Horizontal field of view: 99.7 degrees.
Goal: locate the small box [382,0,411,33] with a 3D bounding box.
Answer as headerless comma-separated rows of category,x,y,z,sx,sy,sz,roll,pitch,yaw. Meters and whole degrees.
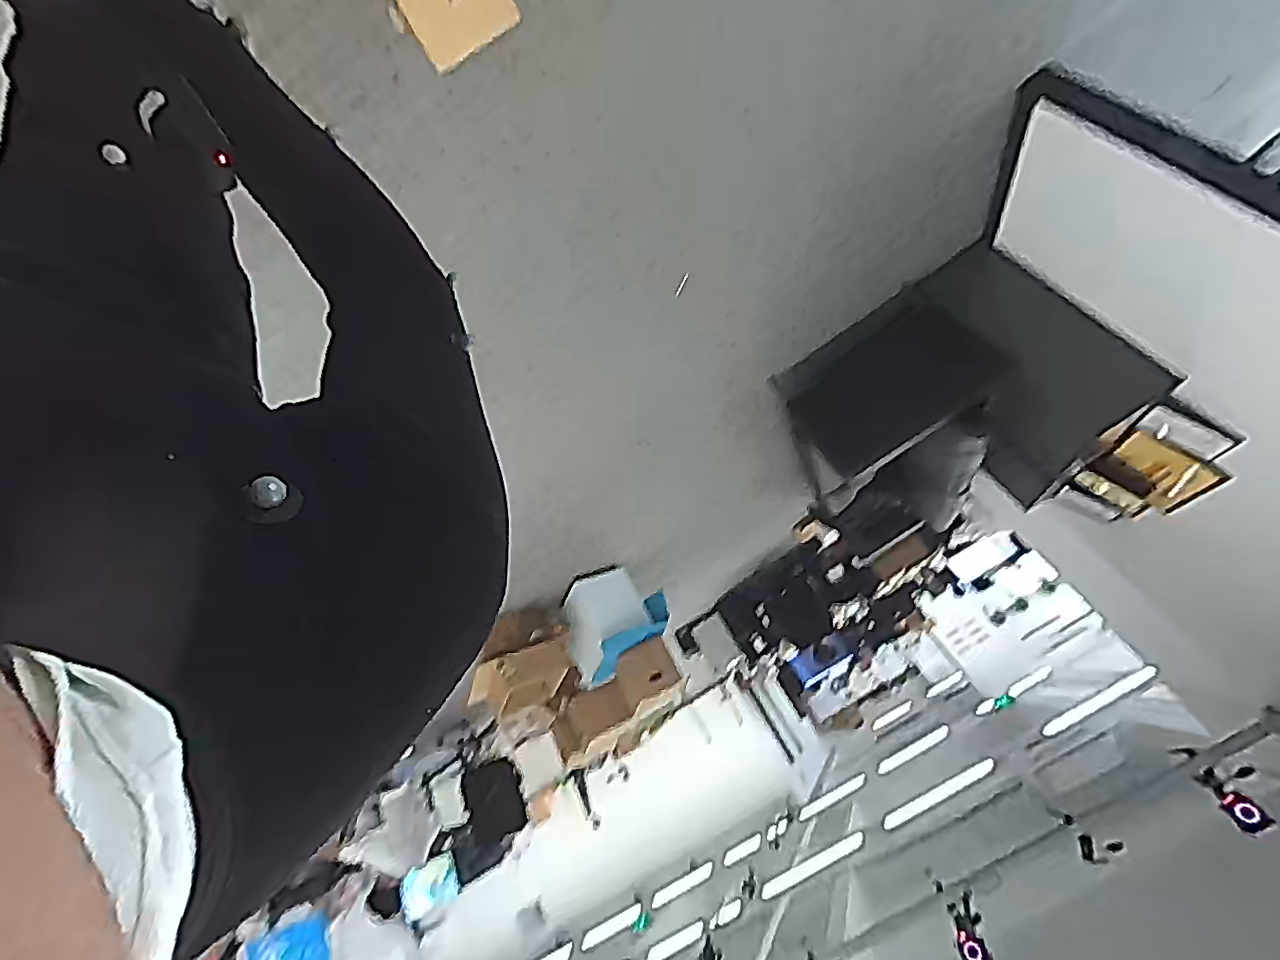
small box,-0.406,-0.935,0.933,0.179,0.176,0.168,-31,153,1

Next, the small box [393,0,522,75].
small box,-0.322,-0.813,0.865,0.168,0.176,0.179,-32,151,2
